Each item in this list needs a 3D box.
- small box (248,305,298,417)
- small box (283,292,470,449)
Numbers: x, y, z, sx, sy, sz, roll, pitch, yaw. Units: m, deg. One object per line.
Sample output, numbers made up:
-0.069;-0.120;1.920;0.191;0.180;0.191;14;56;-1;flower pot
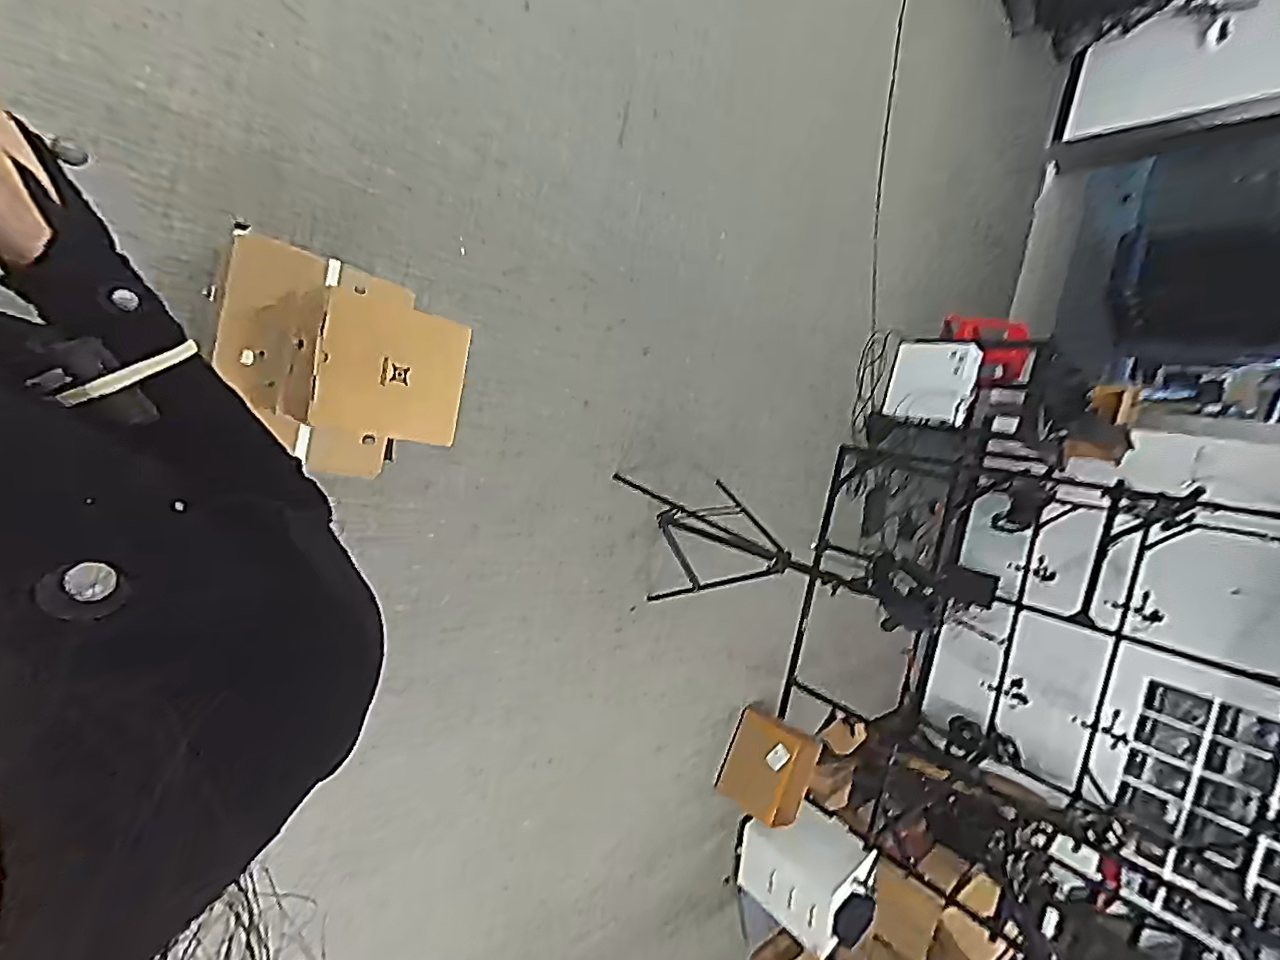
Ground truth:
-0.587;-0.200;0.970;0.168;0.176;0.179;7;97;-42;small box
-0.362;-0.146;0.739;0.179;0.176;0.168;8;96;-42;small box
